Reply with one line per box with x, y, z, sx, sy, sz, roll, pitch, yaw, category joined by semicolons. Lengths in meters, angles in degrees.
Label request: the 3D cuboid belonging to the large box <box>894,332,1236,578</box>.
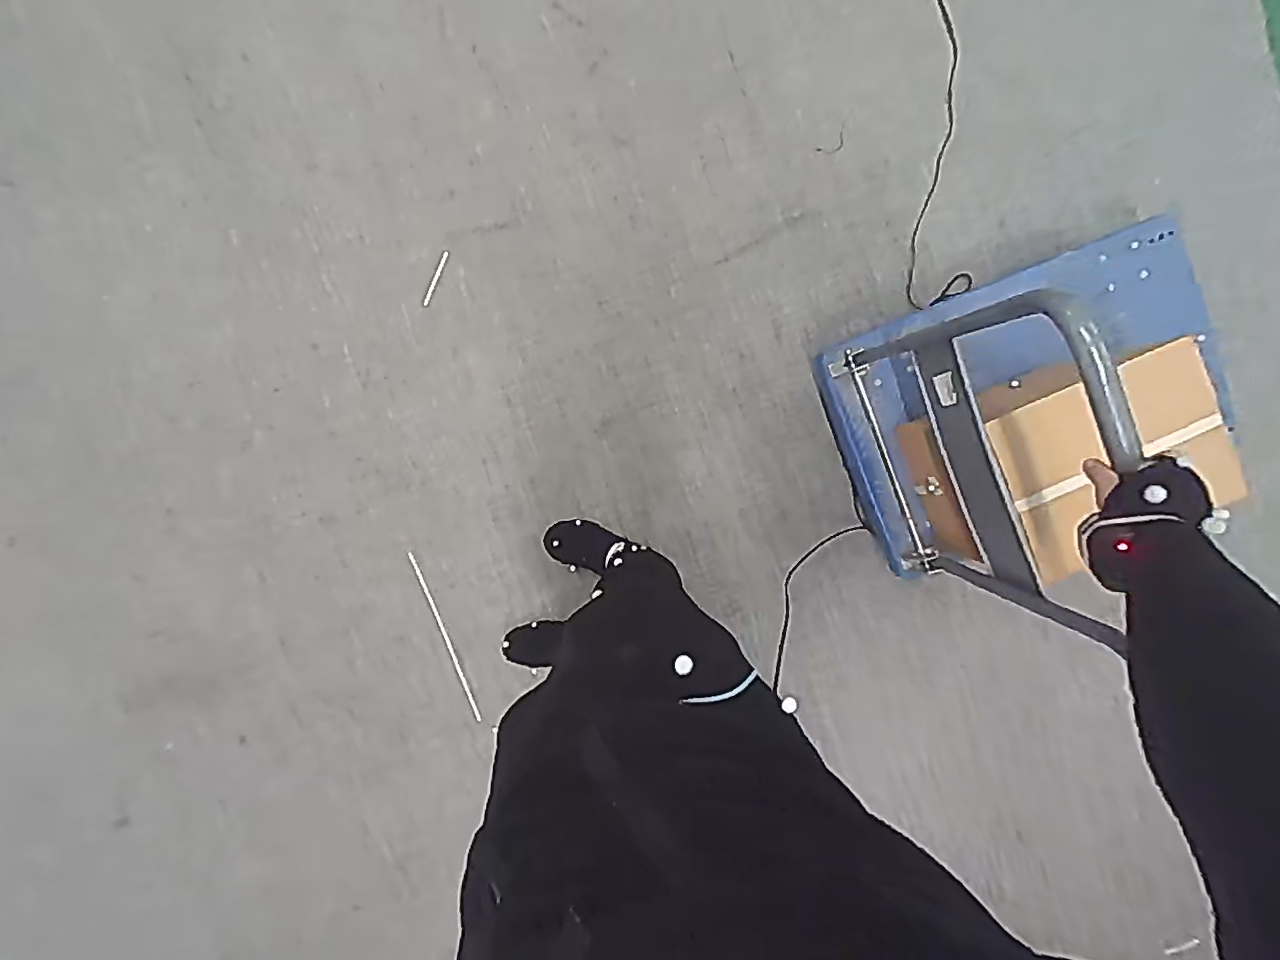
0.821;-0.049;1.102;0.408;0.320;0.320;-24;95;-1;large box
